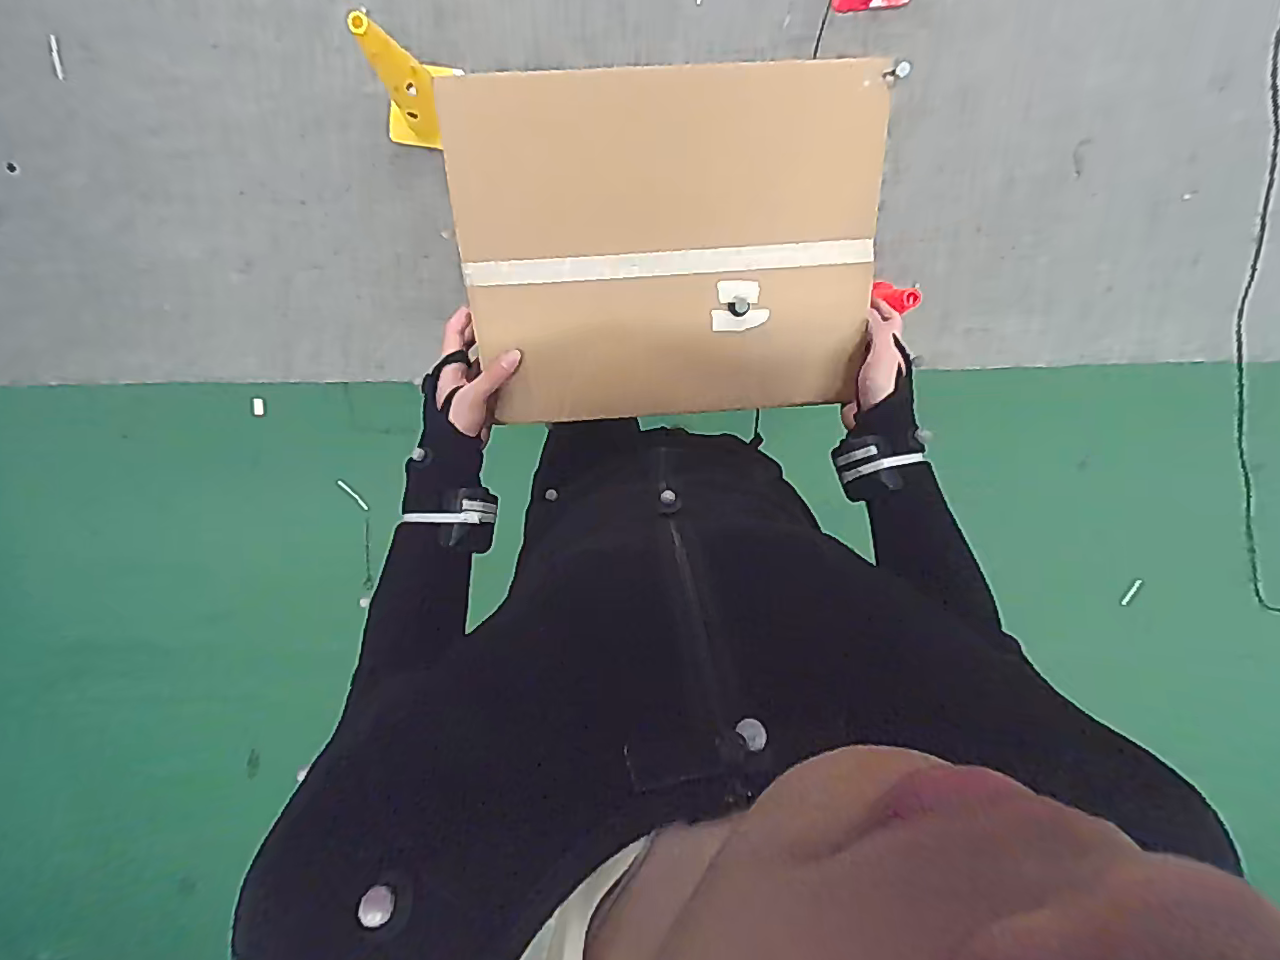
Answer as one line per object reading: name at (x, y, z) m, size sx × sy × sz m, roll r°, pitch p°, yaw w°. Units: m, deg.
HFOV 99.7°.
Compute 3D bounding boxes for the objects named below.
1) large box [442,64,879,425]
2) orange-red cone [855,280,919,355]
large box at (0.019, -0.276, 0.677) m, size 0.408 × 0.320 × 0.320 m, roll -5°, pitch 114°, yaw -3°
orange-red cone at (0.595, -0.427, 1.353) m, size 0.199 × 0.360 × 0.198 m, roll 6°, pitch 101°, yaw -1°
